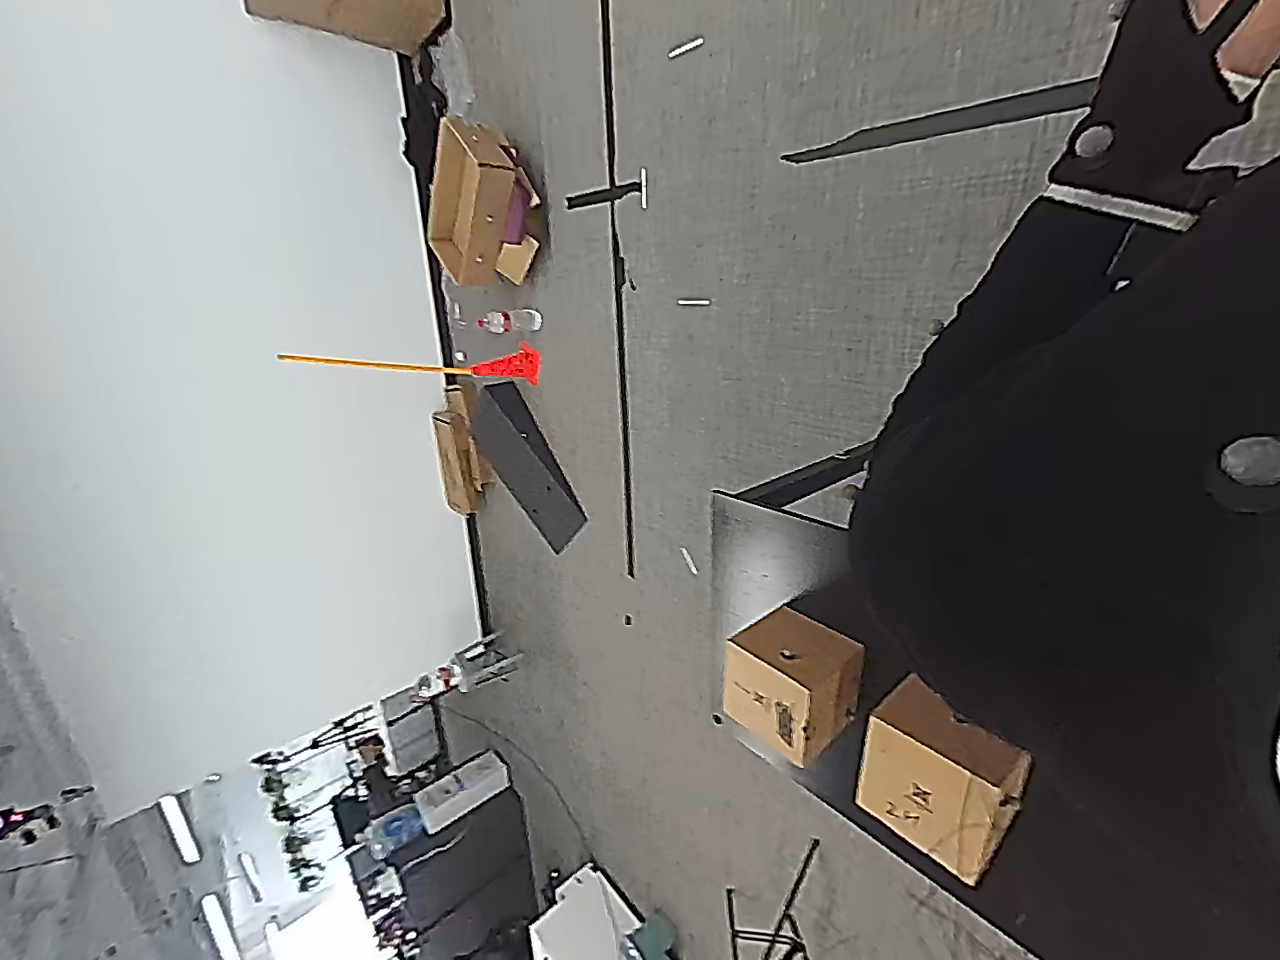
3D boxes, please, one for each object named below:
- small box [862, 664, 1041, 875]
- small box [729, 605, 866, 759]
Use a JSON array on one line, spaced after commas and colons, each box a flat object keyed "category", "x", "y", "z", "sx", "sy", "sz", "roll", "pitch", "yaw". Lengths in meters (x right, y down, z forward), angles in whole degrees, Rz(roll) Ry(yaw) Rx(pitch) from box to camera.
[{"category": "small box", "x": 0.454, "y": 0.404, "z": 0.790, "sx": 0.168, "sy": 0.176, "sz": 0.179, "roll": 22, "pitch": 120, "yaw": 46}, {"category": "small box", "x": 0.285, "y": 0.352, "z": 0.983, "sx": 0.179, "sy": 0.176, "sz": 0.168, "roll": 22, "pitch": 121, "yaw": 46}]
